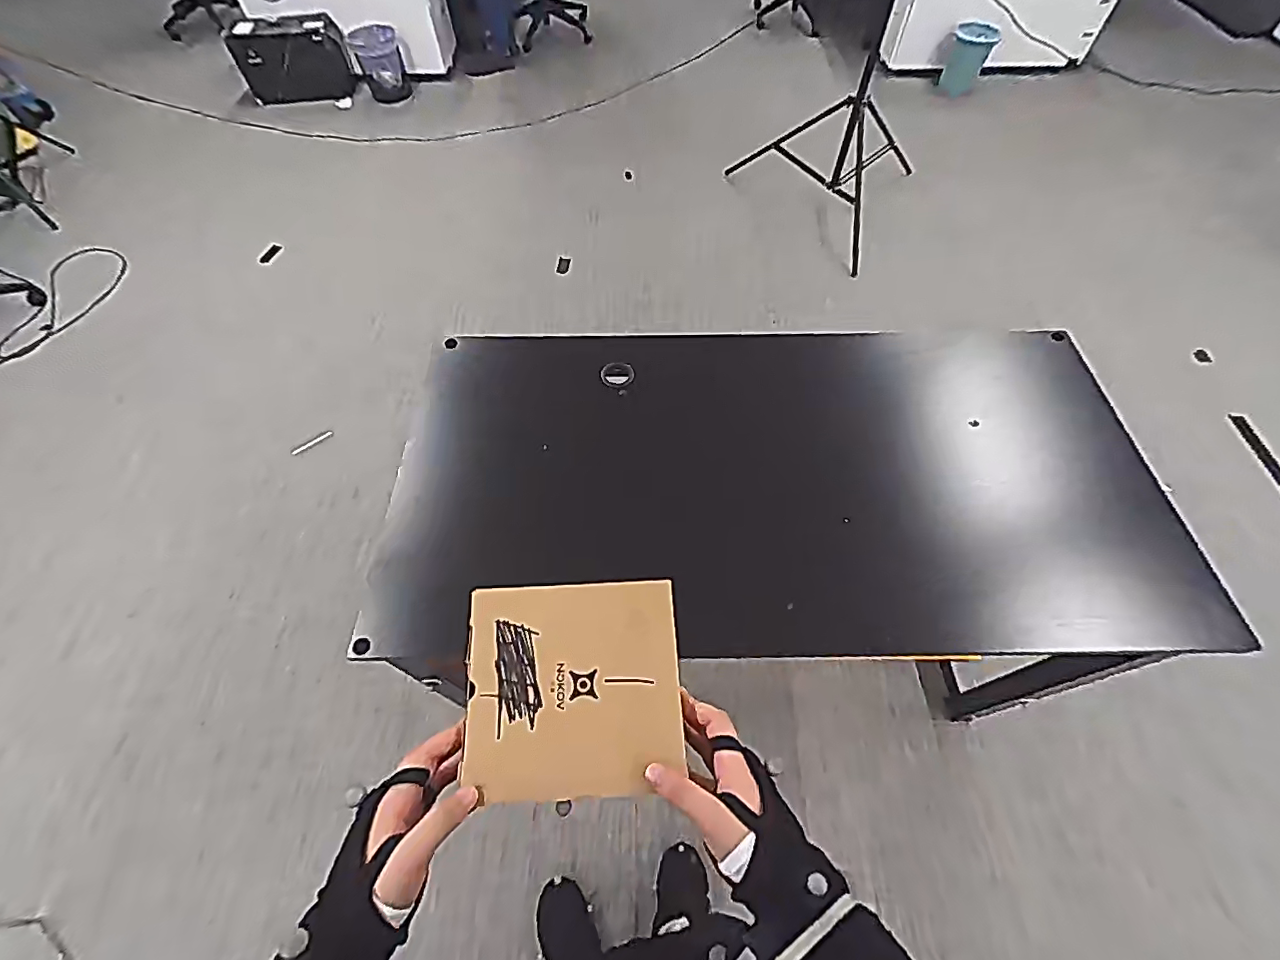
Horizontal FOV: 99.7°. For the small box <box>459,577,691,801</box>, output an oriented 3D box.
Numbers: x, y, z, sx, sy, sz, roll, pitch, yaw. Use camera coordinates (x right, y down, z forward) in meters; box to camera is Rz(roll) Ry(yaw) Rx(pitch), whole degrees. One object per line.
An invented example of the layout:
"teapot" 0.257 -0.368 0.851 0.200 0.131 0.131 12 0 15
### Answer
"small box" -0.052 0.196 0.506 0.179 0.176 0.168 -3 65 -3
